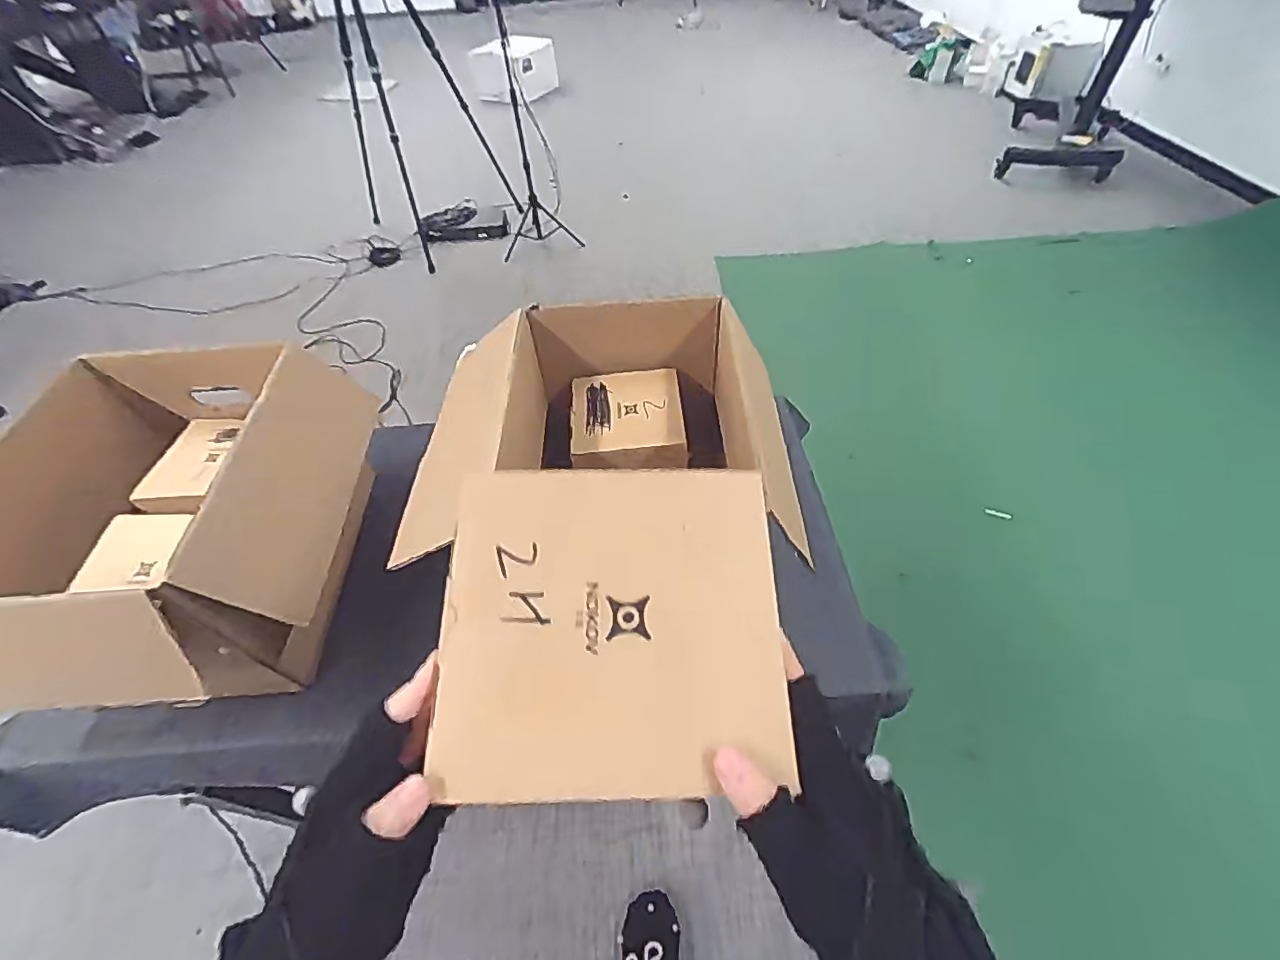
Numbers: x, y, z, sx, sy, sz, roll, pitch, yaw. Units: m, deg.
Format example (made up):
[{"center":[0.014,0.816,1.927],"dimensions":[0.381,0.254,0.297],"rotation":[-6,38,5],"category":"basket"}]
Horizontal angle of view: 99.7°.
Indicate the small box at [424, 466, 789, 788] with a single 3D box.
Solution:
[{"center":[-0.018,0.101,0.359],"dimensions":[0.179,0.176,0.168],"rotation":[1,66,-2],"category":"small box"}]
